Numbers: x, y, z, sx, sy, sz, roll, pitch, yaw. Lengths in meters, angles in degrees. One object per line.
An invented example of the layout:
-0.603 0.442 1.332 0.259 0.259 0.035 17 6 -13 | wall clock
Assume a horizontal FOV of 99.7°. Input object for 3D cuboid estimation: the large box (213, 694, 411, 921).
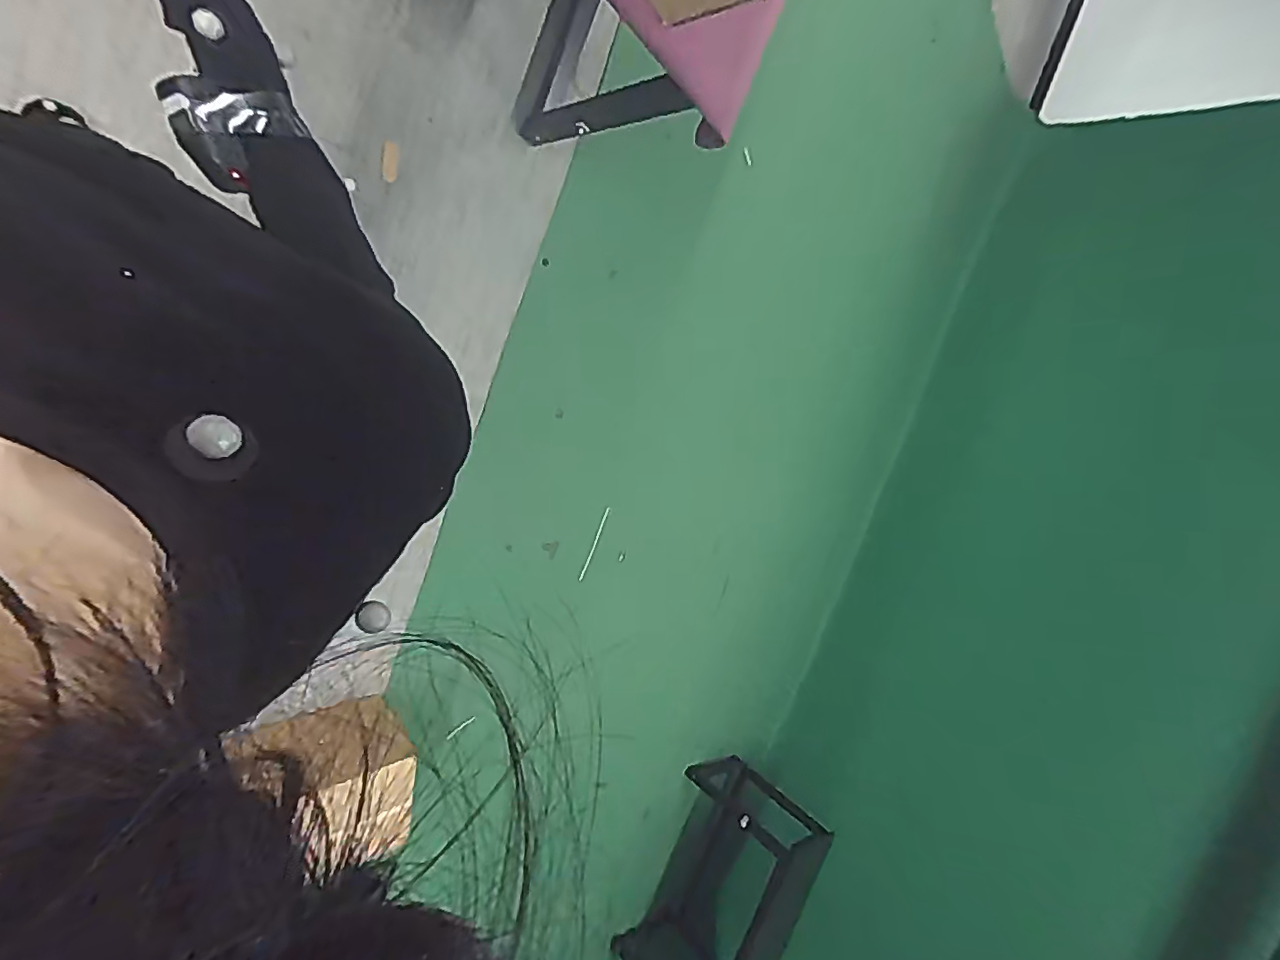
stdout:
-0.907 0.863 1.495 0.408 0.320 0.320 -3 110 -45 | large box
